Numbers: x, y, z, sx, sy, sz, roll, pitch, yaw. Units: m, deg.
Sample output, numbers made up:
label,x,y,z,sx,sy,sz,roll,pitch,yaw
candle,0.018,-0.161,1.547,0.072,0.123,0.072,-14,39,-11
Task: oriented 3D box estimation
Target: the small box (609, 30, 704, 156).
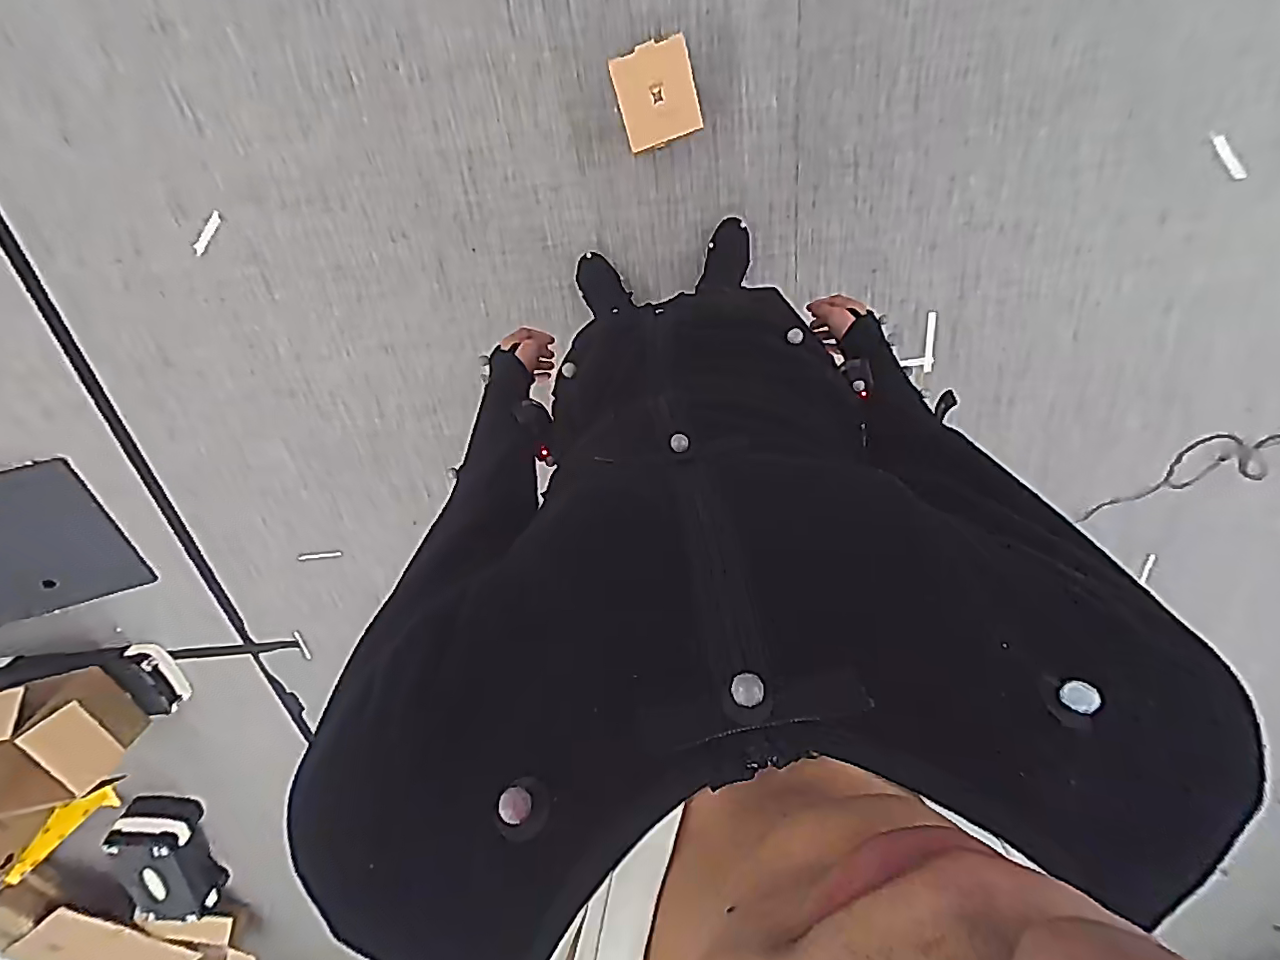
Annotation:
label,x,y,z,sx,sy,sz,roll,pitch,yaw
small box,0.035,-0.852,1.209,0.168,0.176,0.179,-16,117,8
